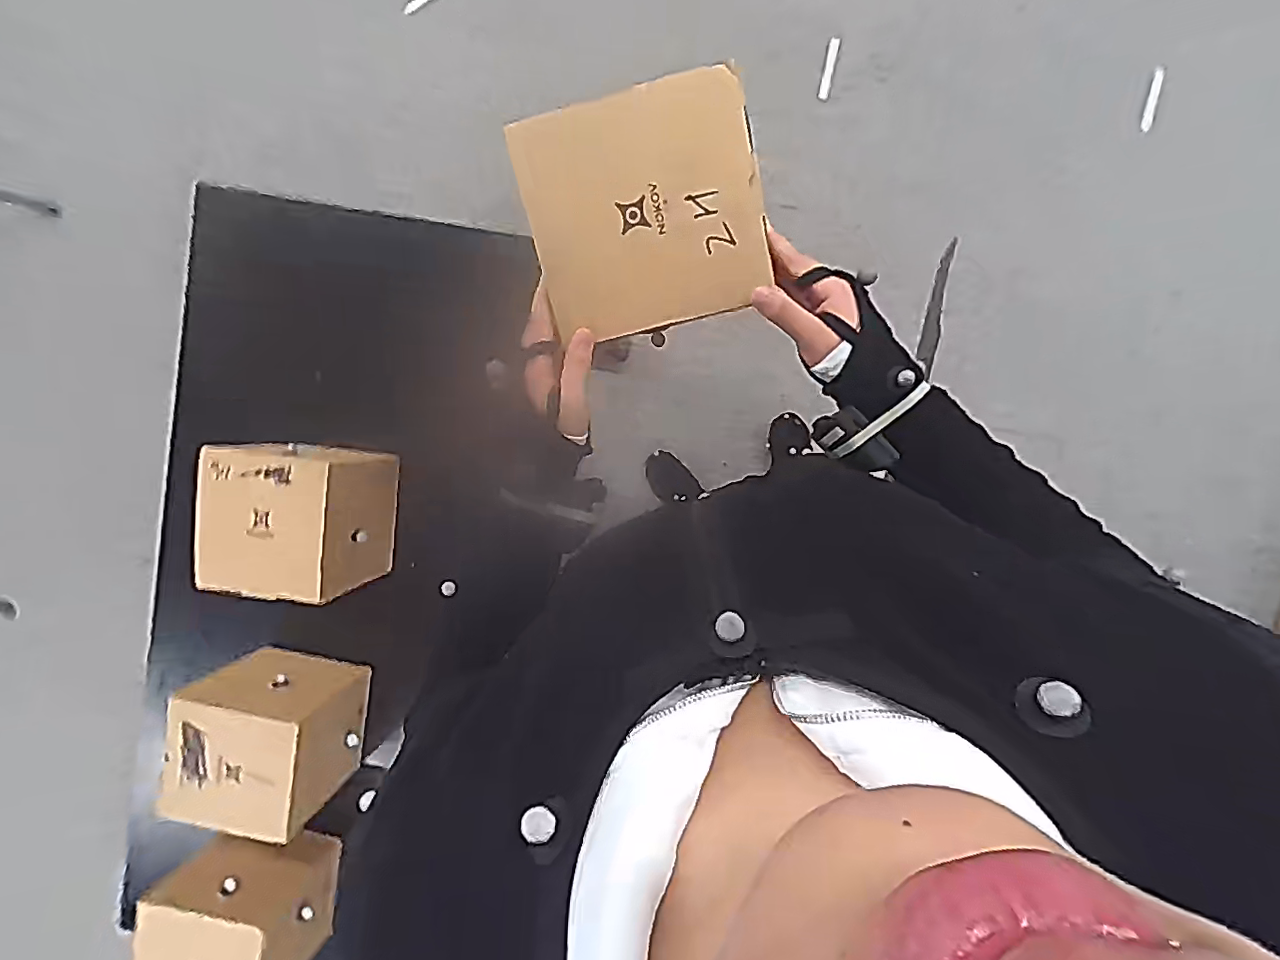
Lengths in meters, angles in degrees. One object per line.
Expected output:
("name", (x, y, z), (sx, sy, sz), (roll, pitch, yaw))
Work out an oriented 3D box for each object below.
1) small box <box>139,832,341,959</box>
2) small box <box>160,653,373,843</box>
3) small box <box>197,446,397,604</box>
("small box", (-0.573, 0.642, 0.791), (0.179, 0.176, 0.168), (9, 93, 4))
("small box", (-0.514, 0.362, 0.765), (0.179, 0.176, 0.168), (9, 95, 2))
("small box", (-0.454, 0.051, 0.738), (0.168, 0.176, 0.179), (6, 95, 3))
